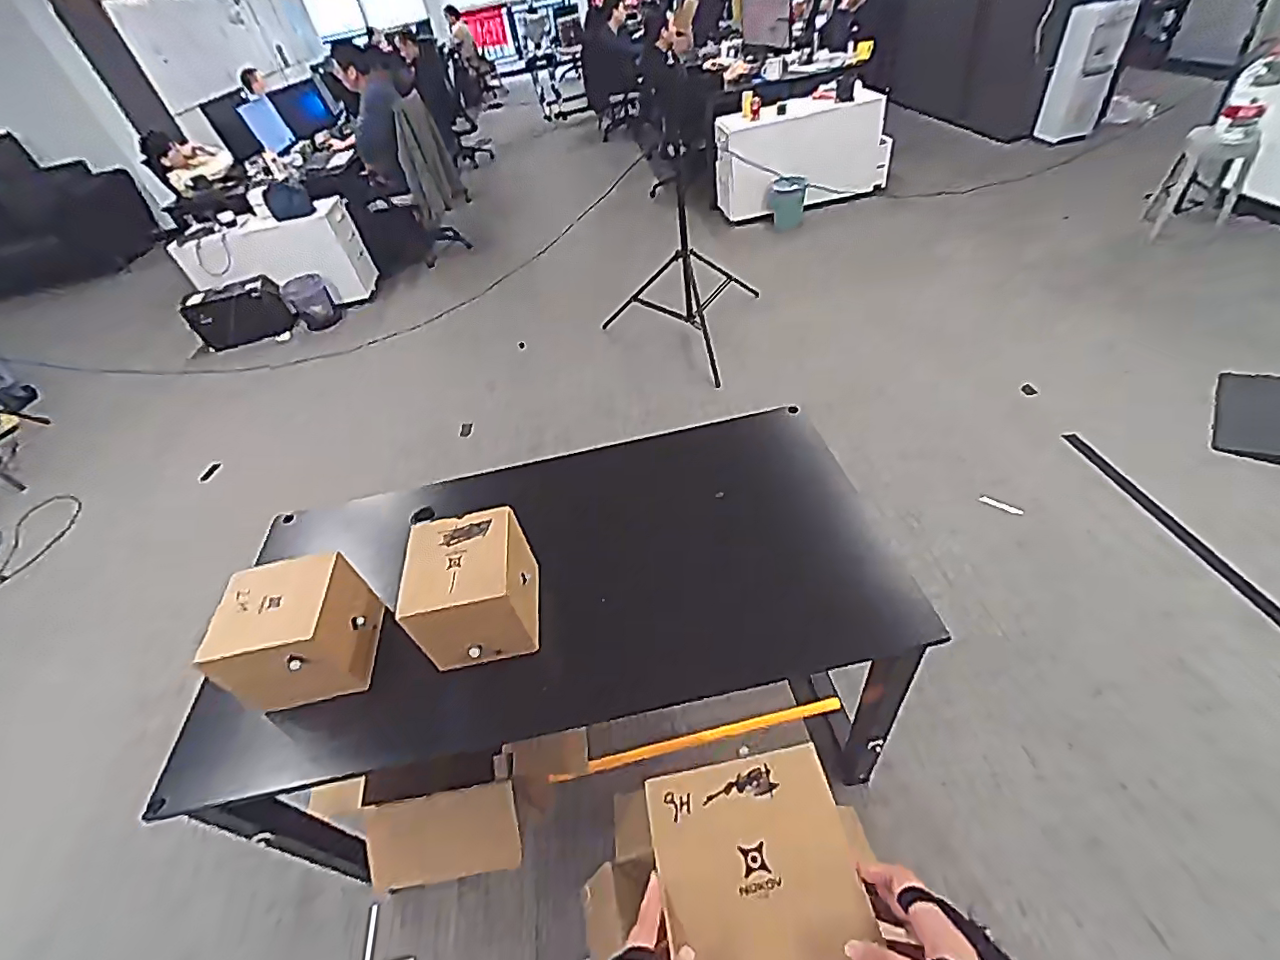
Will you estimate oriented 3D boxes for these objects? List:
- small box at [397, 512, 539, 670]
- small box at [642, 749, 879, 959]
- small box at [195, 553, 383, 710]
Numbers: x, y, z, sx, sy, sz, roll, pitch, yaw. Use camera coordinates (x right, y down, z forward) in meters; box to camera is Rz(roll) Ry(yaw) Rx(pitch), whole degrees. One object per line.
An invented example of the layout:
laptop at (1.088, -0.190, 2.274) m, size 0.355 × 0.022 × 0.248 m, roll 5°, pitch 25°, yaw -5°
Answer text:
small box at (-0.269, 0.182, 0.888) m, size 0.168 × 0.176 × 0.179 m, roll -12°, pitch 44°, yaw 0°
small box at (0.107, 0.384, 0.514) m, size 0.168 × 0.176 × 0.179 m, roll -13°, pitch 48°, yaw 1°
small box at (-0.547, 0.247, 0.877) m, size 0.179 × 0.176 × 0.168 m, roll -13°, pitch 43°, yaw -2°
